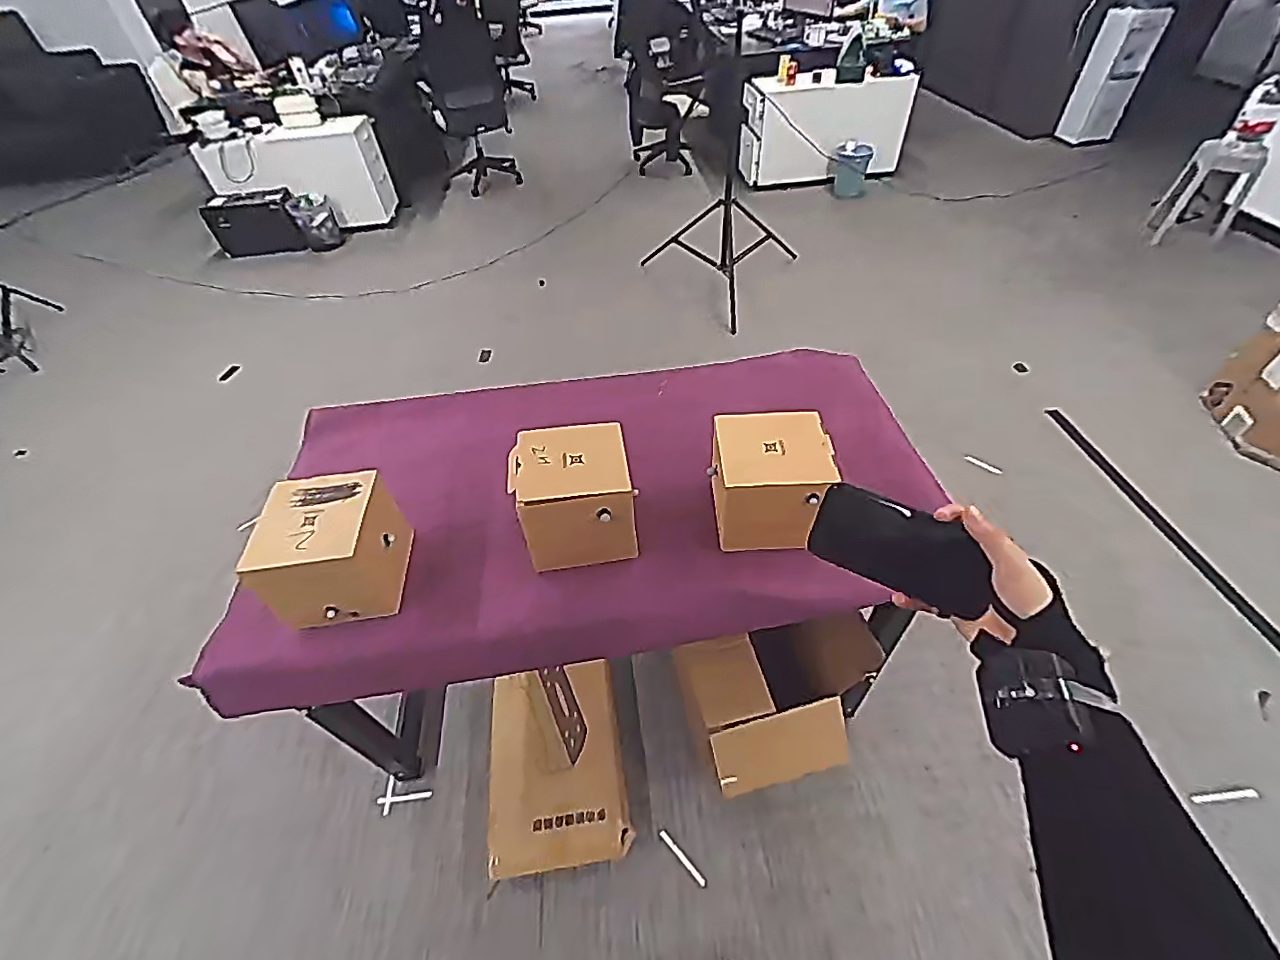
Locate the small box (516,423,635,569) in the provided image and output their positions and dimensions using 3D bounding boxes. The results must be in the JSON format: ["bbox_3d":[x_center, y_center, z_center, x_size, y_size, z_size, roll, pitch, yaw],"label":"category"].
[{"bbox_3d":[-0.103,0.029,0.911,0.179,0.176,0.168,-8,45,-3],"label":"small box"}]

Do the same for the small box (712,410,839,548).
[{"bbox_3d":[0.215,0.001,0.912,0.179,0.176,0.168,-3,47,2],"label":"small box"}]
